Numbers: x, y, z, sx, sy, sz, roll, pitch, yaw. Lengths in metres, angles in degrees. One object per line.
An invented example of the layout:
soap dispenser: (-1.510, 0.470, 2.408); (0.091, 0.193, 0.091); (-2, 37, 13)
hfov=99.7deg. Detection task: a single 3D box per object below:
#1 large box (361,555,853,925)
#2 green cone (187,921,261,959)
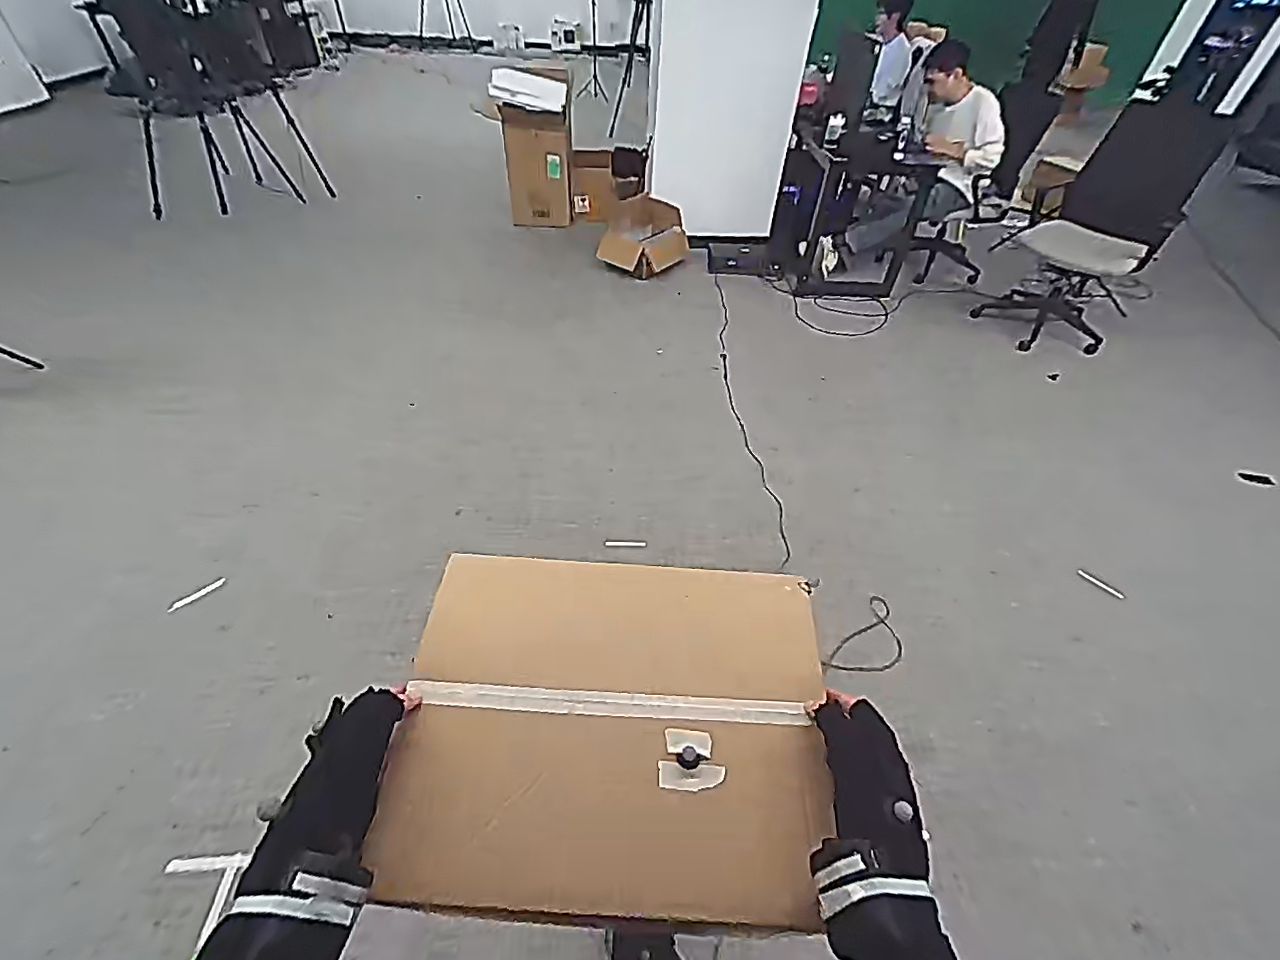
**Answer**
large box: (-0.028, 0.311, 0.638); (0.408, 0.320, 0.320); (4, 49, 0)
green cone: (-0.821, 0.879, 0.901); (0.202, 0.368, 0.200); (-29, 52, -26)
